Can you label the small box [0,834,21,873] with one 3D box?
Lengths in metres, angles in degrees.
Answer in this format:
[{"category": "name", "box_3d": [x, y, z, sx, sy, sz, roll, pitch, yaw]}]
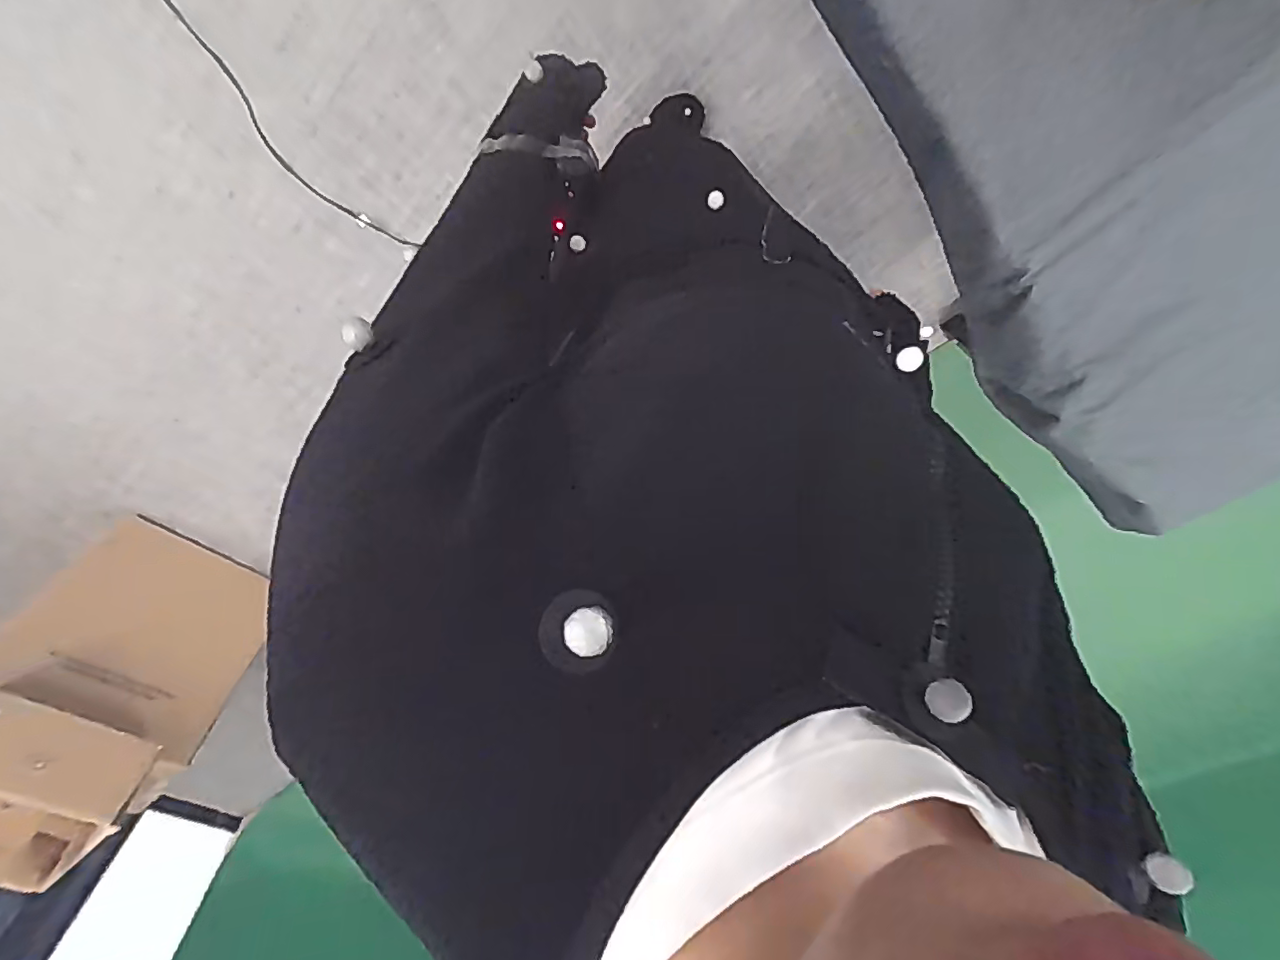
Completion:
[{"category": "small box", "box_3d": [-1.545, 0.887, 1.193, 0.168, 0.176, 0.179, 37, 118, -27]}]
